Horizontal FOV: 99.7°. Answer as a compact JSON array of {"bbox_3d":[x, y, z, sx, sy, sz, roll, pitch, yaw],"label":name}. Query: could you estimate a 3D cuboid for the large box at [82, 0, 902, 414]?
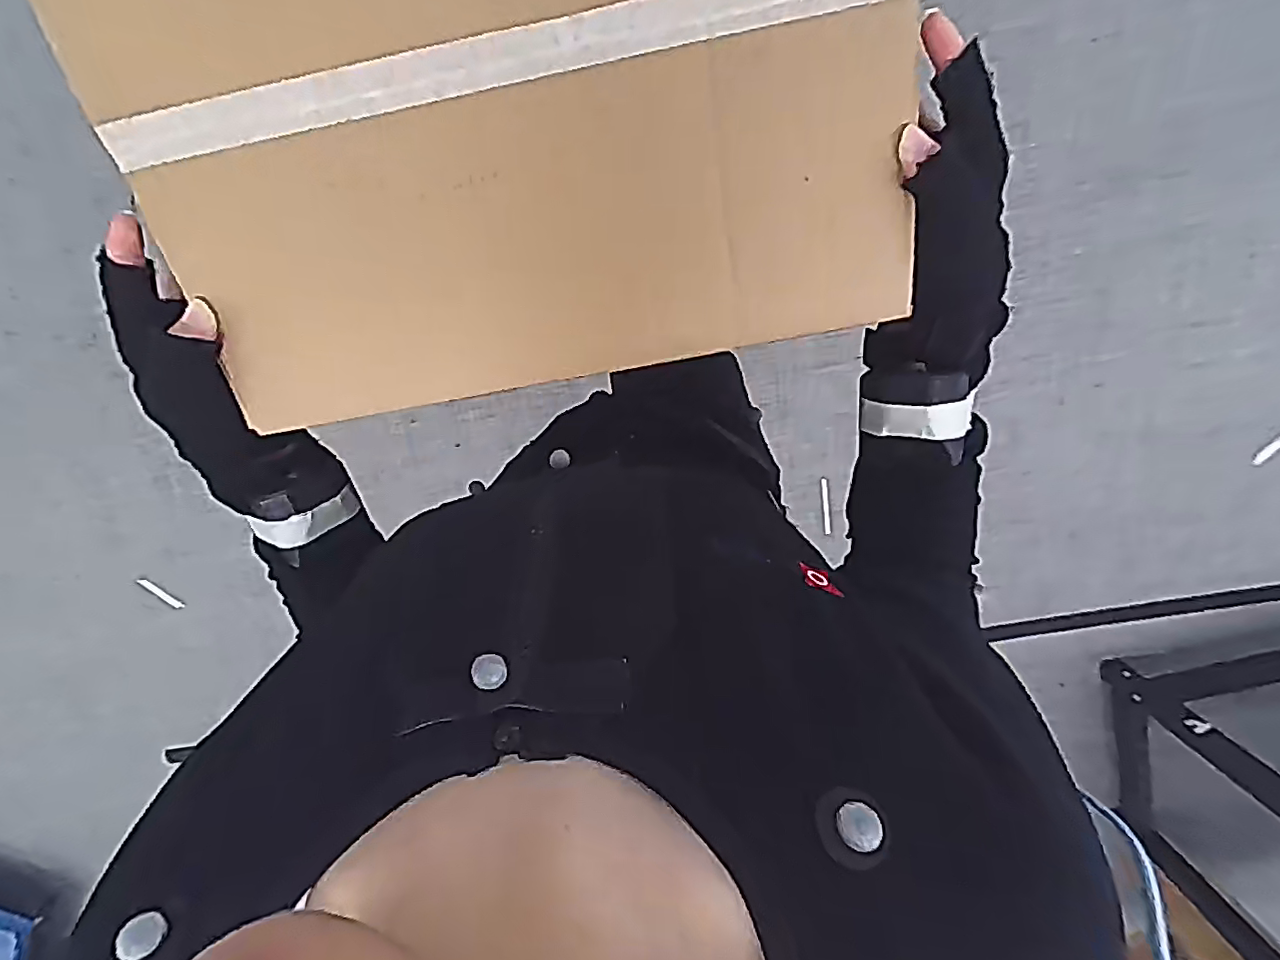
[{"bbox_3d":[-0.071,-0.272,0.412,0.408,0.320,0.320,-10,114,4],"label":"large box"}]
